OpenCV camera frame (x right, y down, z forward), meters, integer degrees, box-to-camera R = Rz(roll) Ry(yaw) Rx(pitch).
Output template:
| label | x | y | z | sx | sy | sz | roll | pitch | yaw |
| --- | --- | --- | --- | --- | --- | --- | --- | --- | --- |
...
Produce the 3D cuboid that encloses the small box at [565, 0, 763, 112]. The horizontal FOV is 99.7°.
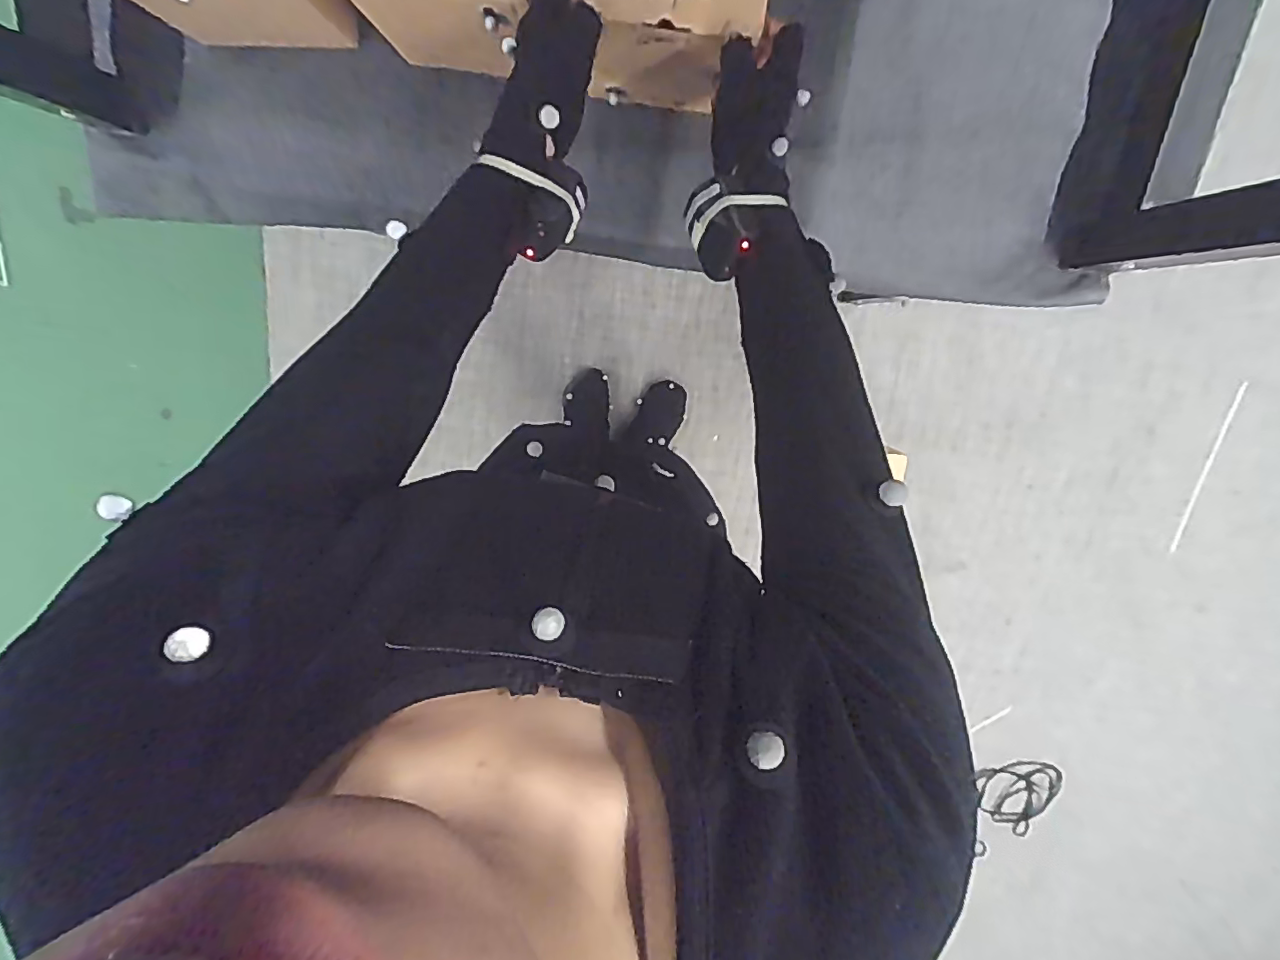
| label | x | y | z | sx | sy | sz | roll | pitch | yaw |
| --- | --- | --- | --- | --- | --- | --- | --- | --- | --- |
| small box | 0.031 | -0.477 | 0.505 | 0.168 | 0.176 | 0.179 | 7 | 106 | -1 |
